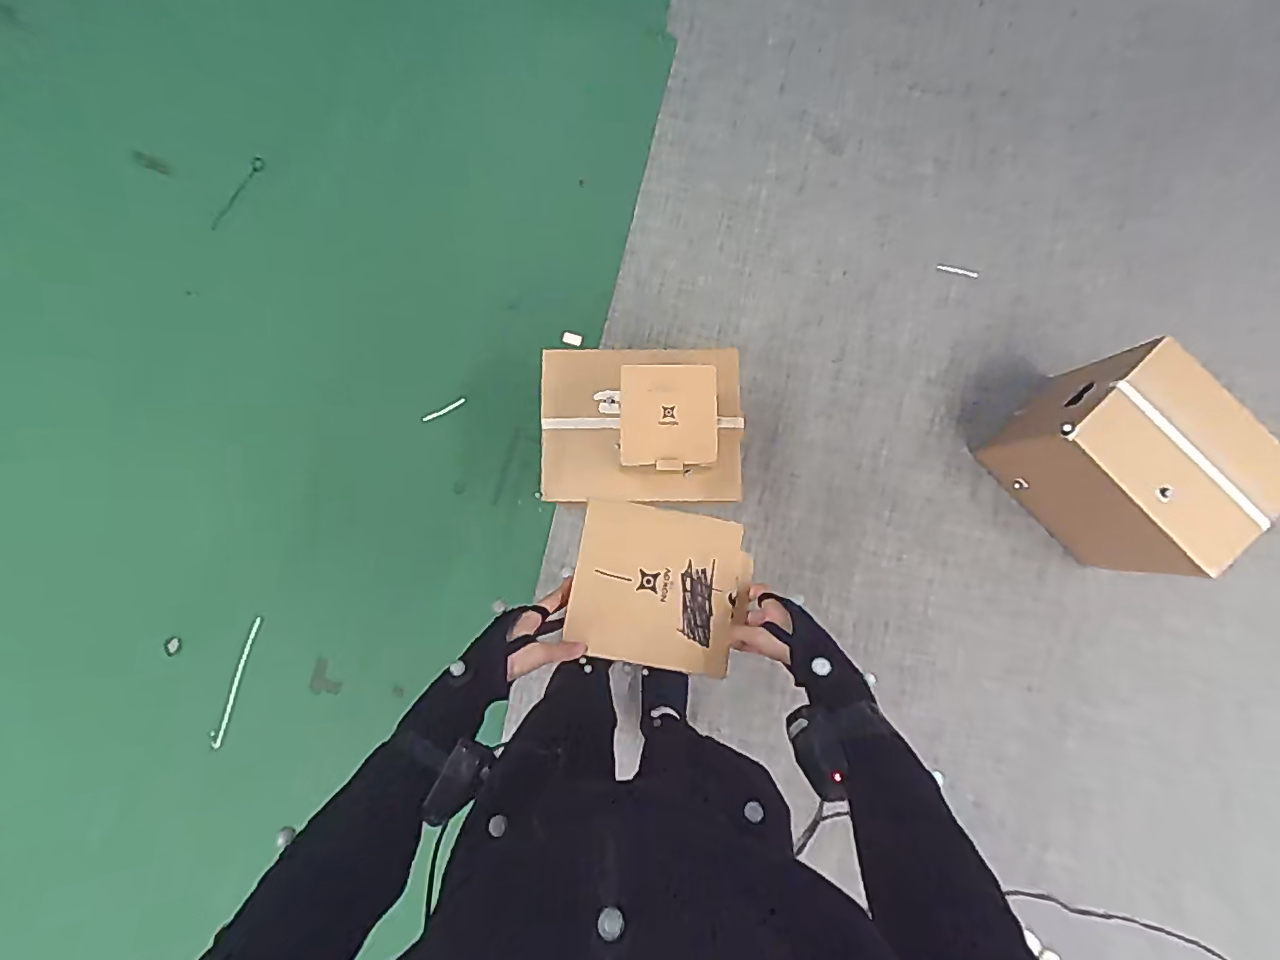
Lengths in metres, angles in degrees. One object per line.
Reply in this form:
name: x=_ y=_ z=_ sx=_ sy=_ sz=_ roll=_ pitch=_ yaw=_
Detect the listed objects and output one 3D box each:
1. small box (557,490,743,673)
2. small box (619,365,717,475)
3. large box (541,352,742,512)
small box: x=0.007 y=0.125 z=0.645 sx=0.179 sy=0.176 sz=0.168 roll=11 pitch=73 yaw=-2
small box: x=0.048 y=-0.101 z=0.989 sx=0.168 sy=0.176 sz=0.179 roll=0 pitch=85 yaw=-1
large box: x=0.003 y=-0.089 z=1.235 sx=0.408 sy=0.320 sz=0.320 roll=-1 pitch=83 yaw=1
